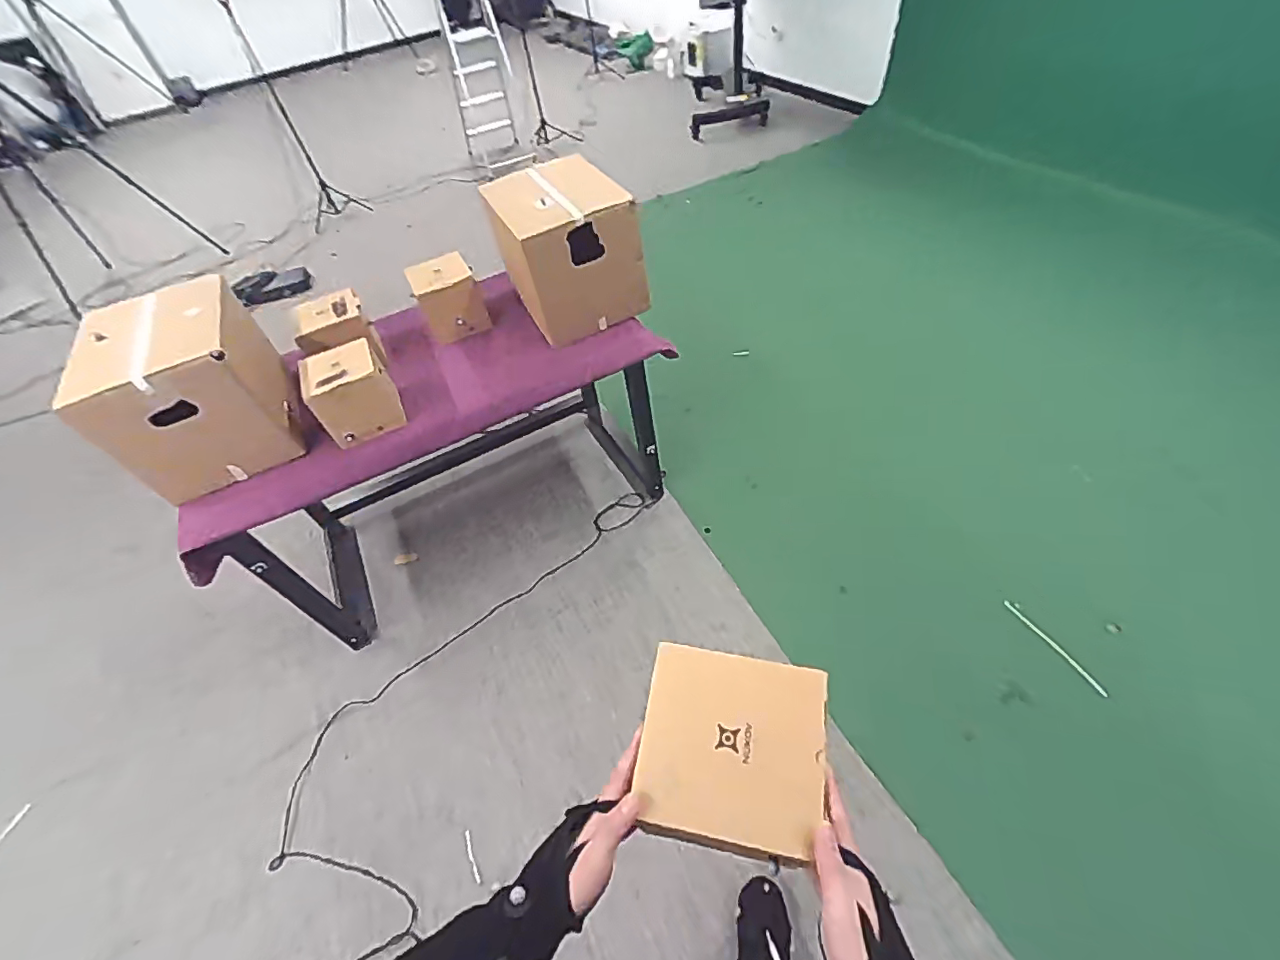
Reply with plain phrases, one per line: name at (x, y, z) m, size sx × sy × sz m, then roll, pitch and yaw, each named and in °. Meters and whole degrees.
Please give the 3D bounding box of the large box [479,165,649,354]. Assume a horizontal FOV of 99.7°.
large box at (-0.209, -0.625, 1.523) m, size 0.320 × 0.320 × 0.408 m, roll -26°, pitch 51°, yaw -11°

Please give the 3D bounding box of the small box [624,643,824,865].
small box at (0.090, 0.294, 0.575) m, size 0.179 × 0.176 × 0.168 m, roll 7°, pitch 53°, yaw 9°

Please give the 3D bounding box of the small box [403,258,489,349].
small box at (-0.559, -0.511, 1.568) m, size 0.168 × 0.176 × 0.179 m, roll -25°, pitch 51°, yaw -13°
